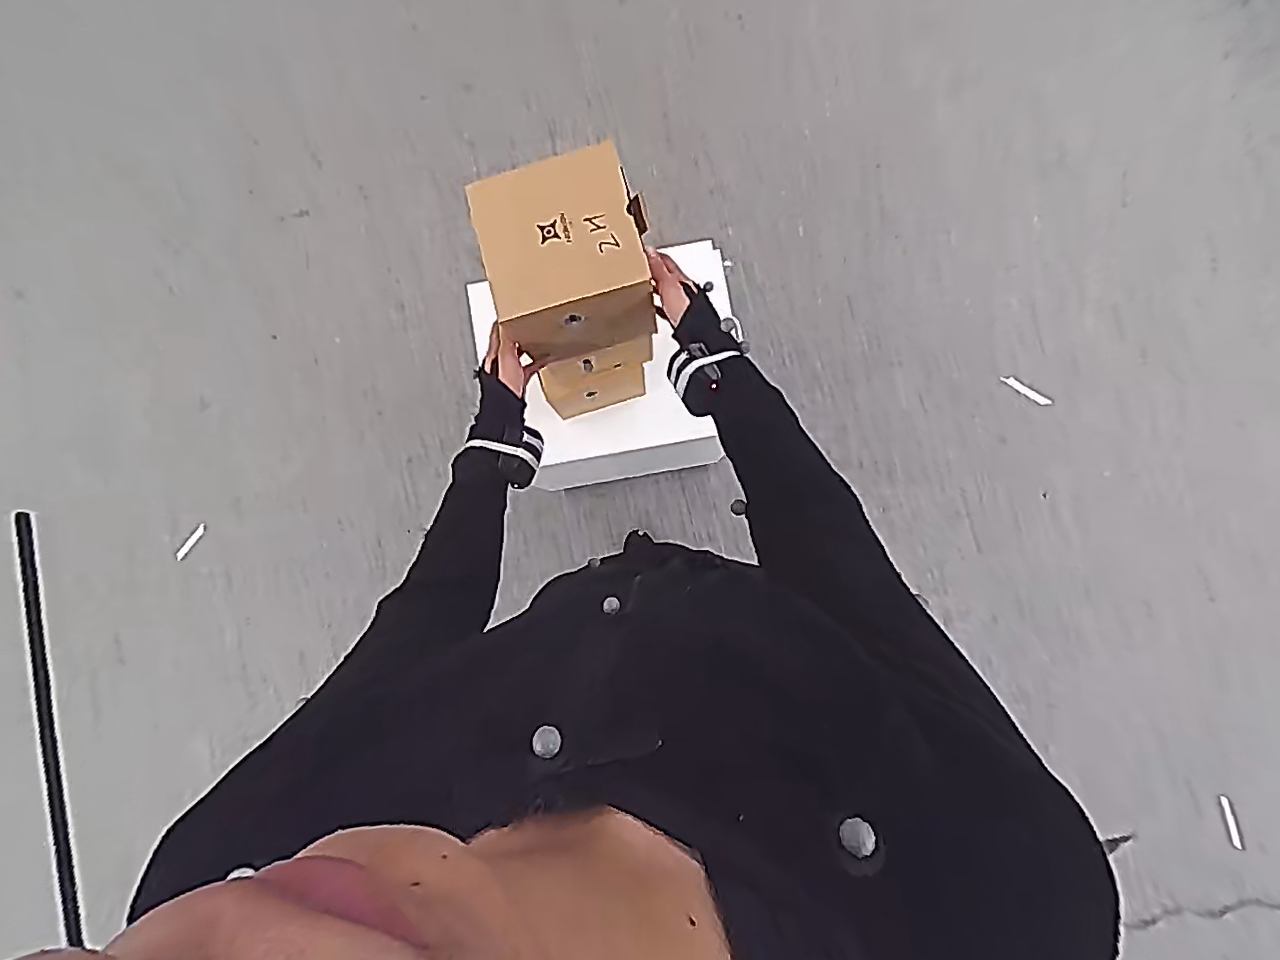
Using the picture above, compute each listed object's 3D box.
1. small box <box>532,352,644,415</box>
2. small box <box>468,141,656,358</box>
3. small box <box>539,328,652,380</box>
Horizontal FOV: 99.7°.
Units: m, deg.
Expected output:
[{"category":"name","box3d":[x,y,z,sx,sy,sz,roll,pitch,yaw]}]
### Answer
[{"category":"small box","box3d":[-0.096,-0.231,0.995,0.179,0.176,0.168,-17,85,0]},{"category":"small box","box3d":[-0.085,-0.266,0.668,0.179,0.176,0.168,-14,85,2]},{"category":"small box","box3d":[-0.082,-0.266,0.835,0.168,0.176,0.179,-16,84,1]}]
